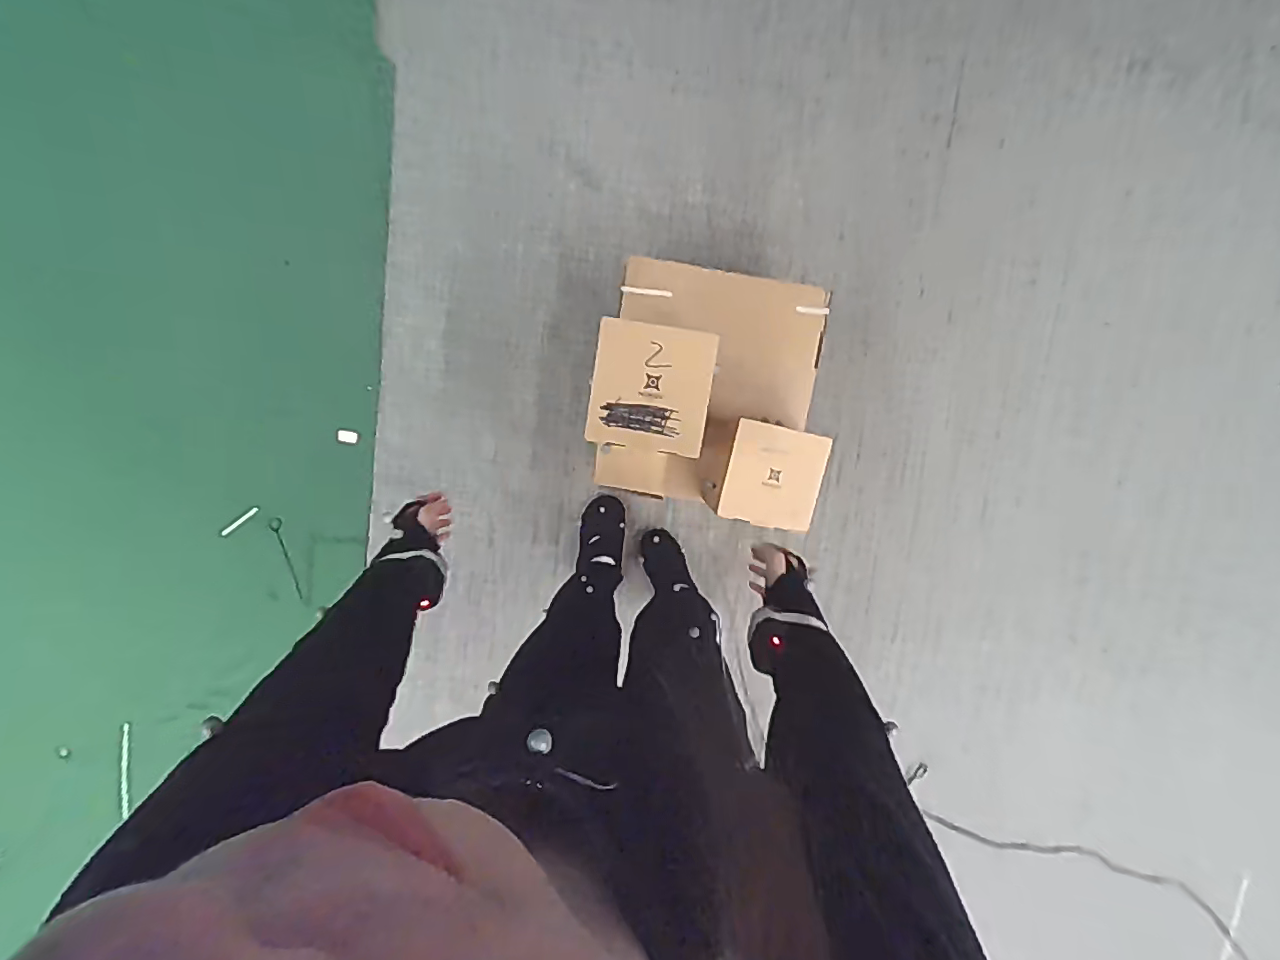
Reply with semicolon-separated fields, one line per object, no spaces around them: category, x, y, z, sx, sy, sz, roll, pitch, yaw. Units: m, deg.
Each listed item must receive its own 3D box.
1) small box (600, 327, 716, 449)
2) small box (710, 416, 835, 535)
small box;0.031;-0.160;0.989;0.168;0.176;0.179;13;95;0
small box;0.233;-0.015;1.002;0.168;0.176;0.179;13;95;-2
